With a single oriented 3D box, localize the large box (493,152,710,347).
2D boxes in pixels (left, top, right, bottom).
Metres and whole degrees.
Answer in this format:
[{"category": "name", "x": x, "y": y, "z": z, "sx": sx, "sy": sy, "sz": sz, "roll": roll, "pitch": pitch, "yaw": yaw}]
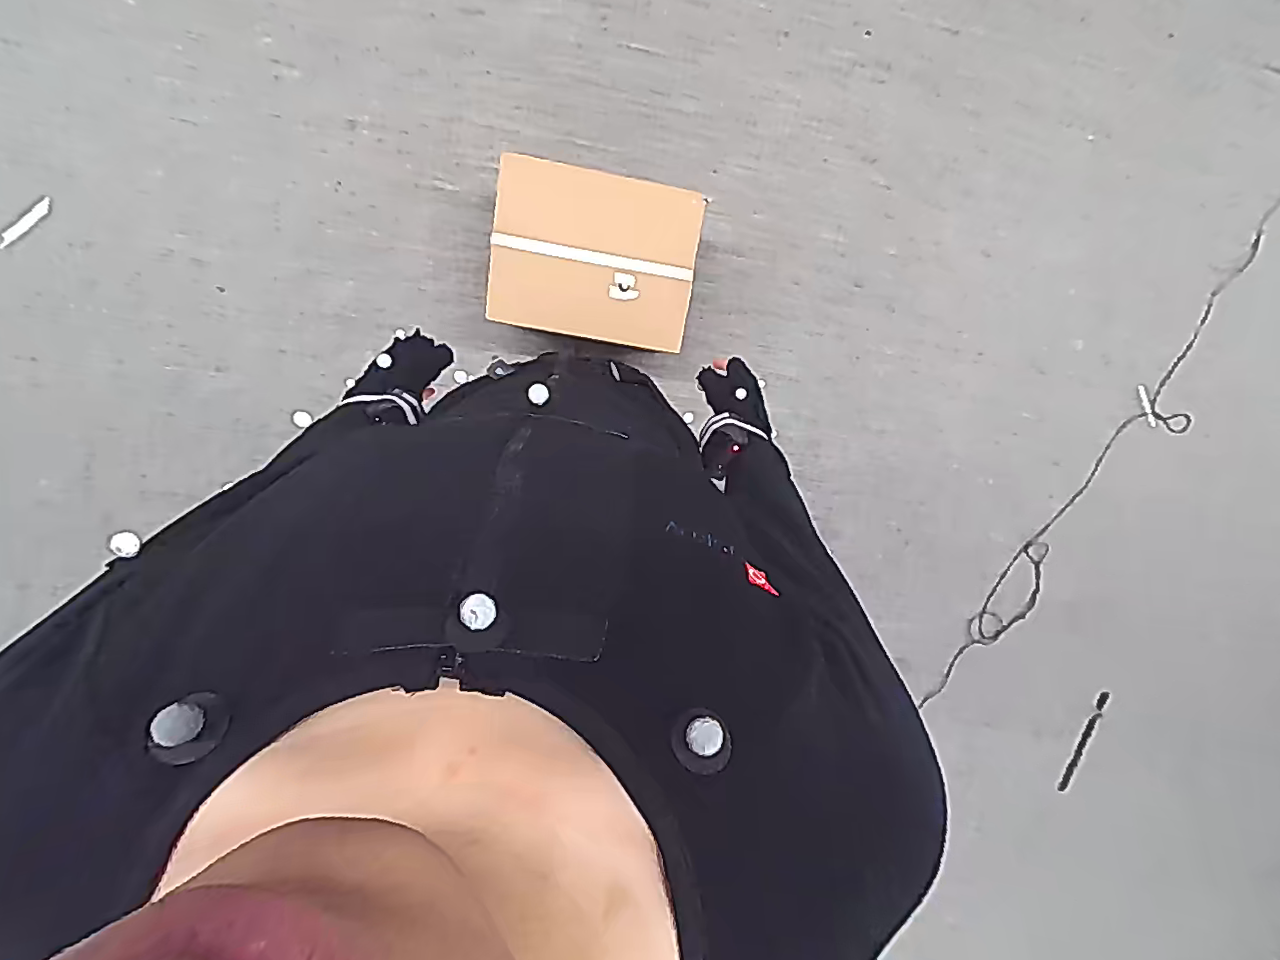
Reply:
[{"category": "large box", "x": -0.093, "y": -0.485, "z": 1.218, "sx": 0.408, "sy": 0.320, "sz": 0.320, "roll": 8, "pitch": 104, "yaw": -7}]
